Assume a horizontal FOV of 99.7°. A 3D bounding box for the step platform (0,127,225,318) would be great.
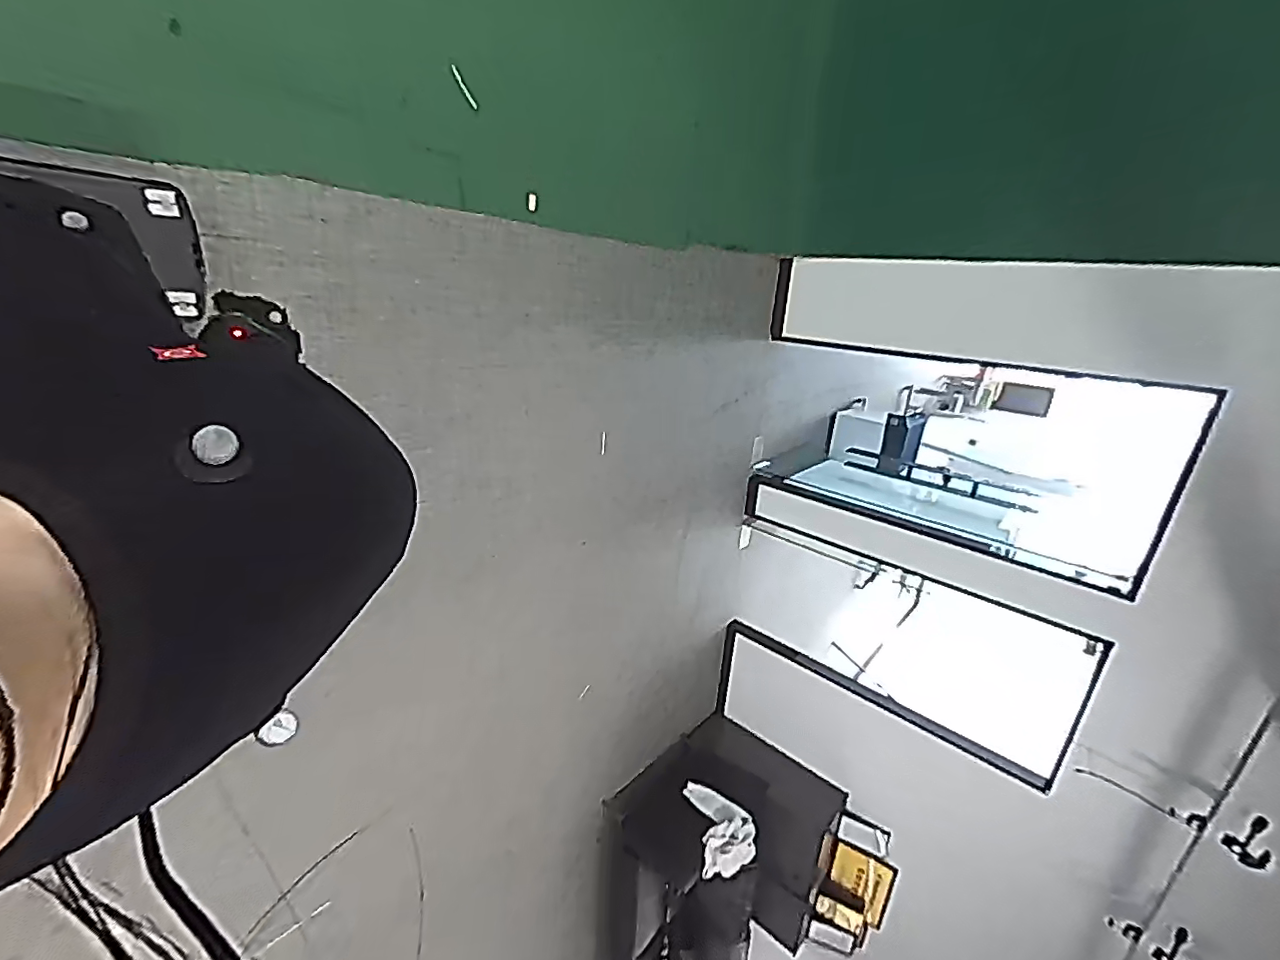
[{"bbox_3d":[-1.074,-0.405,0.820,0.684,0.204,0.286,-17,119,-45],"label":"step platform"}]
